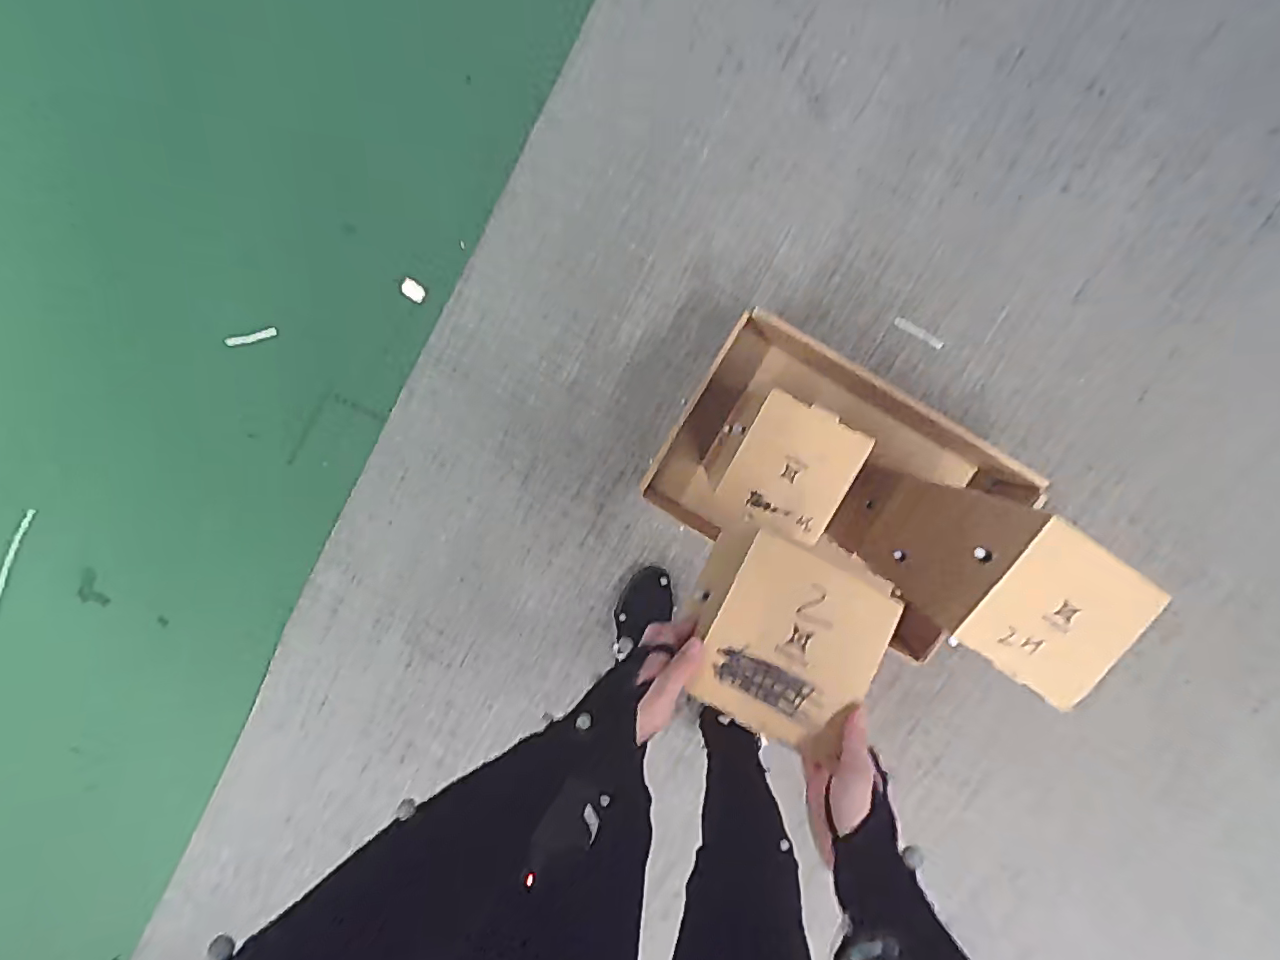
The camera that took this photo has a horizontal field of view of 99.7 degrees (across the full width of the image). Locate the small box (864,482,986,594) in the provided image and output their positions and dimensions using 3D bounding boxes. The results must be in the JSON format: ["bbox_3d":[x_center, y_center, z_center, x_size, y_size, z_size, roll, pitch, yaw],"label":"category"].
[{"bbox_3d":[0.487,0.121,0.848,0.168,0.176,0.179,35,99,-2],"label":"small box"}]

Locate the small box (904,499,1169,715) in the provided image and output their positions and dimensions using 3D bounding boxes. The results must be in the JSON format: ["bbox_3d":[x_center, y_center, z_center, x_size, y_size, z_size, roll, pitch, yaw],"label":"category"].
[{"bbox_3d":[0.477,0.145,0.686,0.168,0.176,0.179,35,99,-1],"label":"small box"}]

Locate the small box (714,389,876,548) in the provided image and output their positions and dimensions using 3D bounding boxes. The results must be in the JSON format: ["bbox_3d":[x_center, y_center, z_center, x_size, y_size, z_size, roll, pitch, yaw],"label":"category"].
[{"bbox_3d":[0.225,-0.022,0.842,0.168,0.176,0.179,28,97,2],"label":"small box"}]
